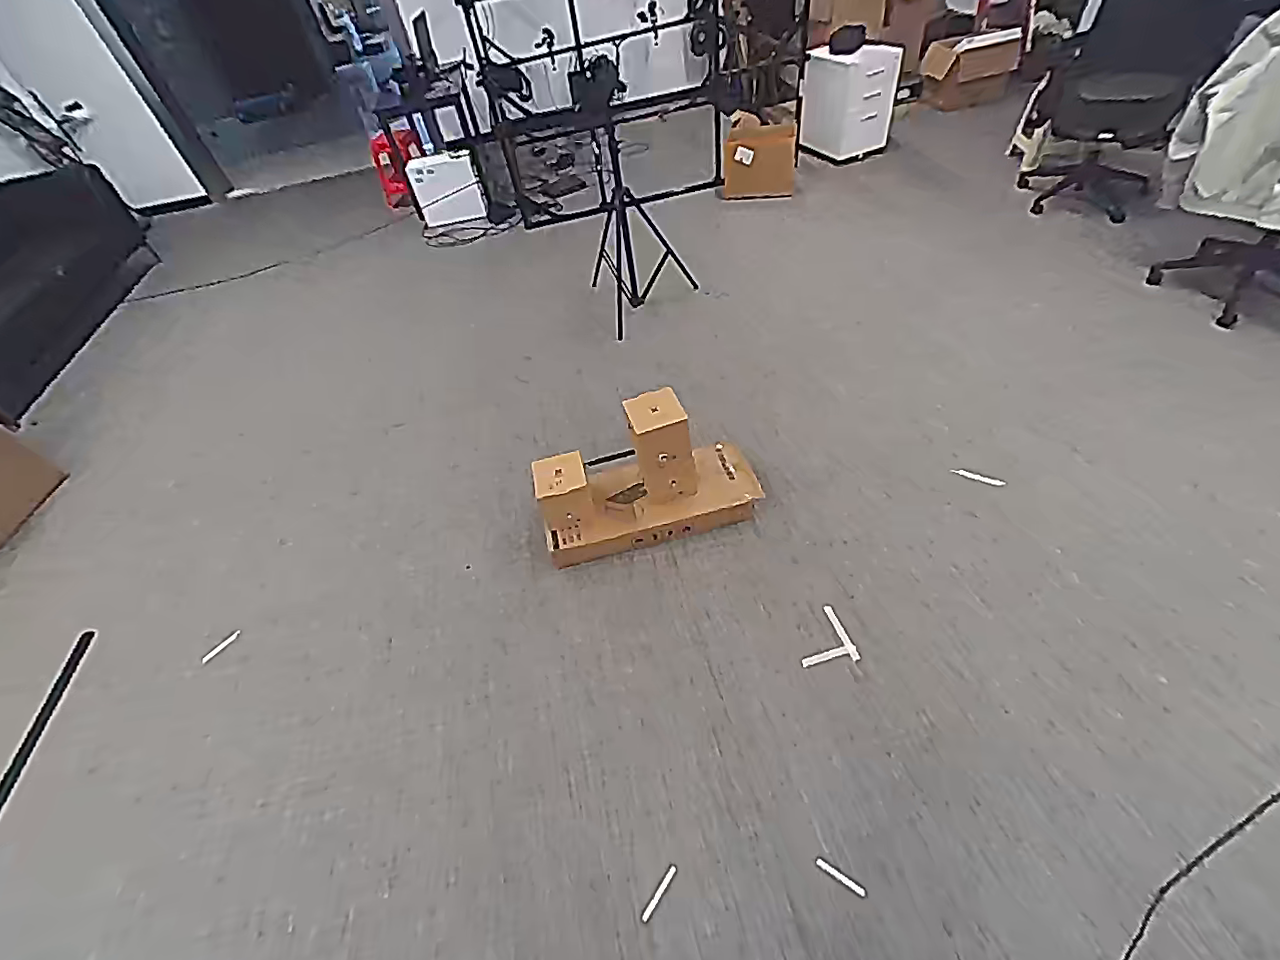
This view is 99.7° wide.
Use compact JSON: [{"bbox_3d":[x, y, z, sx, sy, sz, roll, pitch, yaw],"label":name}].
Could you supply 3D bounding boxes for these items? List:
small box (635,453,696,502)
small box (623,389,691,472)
[{"bbox_3d":[0.085,-0.046,1.828,0.168,0.176,0.179,-16,47,-5],"label":"small box"},{"bbox_3d":[0.055,-0.155,1.709,0.168,0.176,0.179,-19,47,-6],"label":"small box"}]
